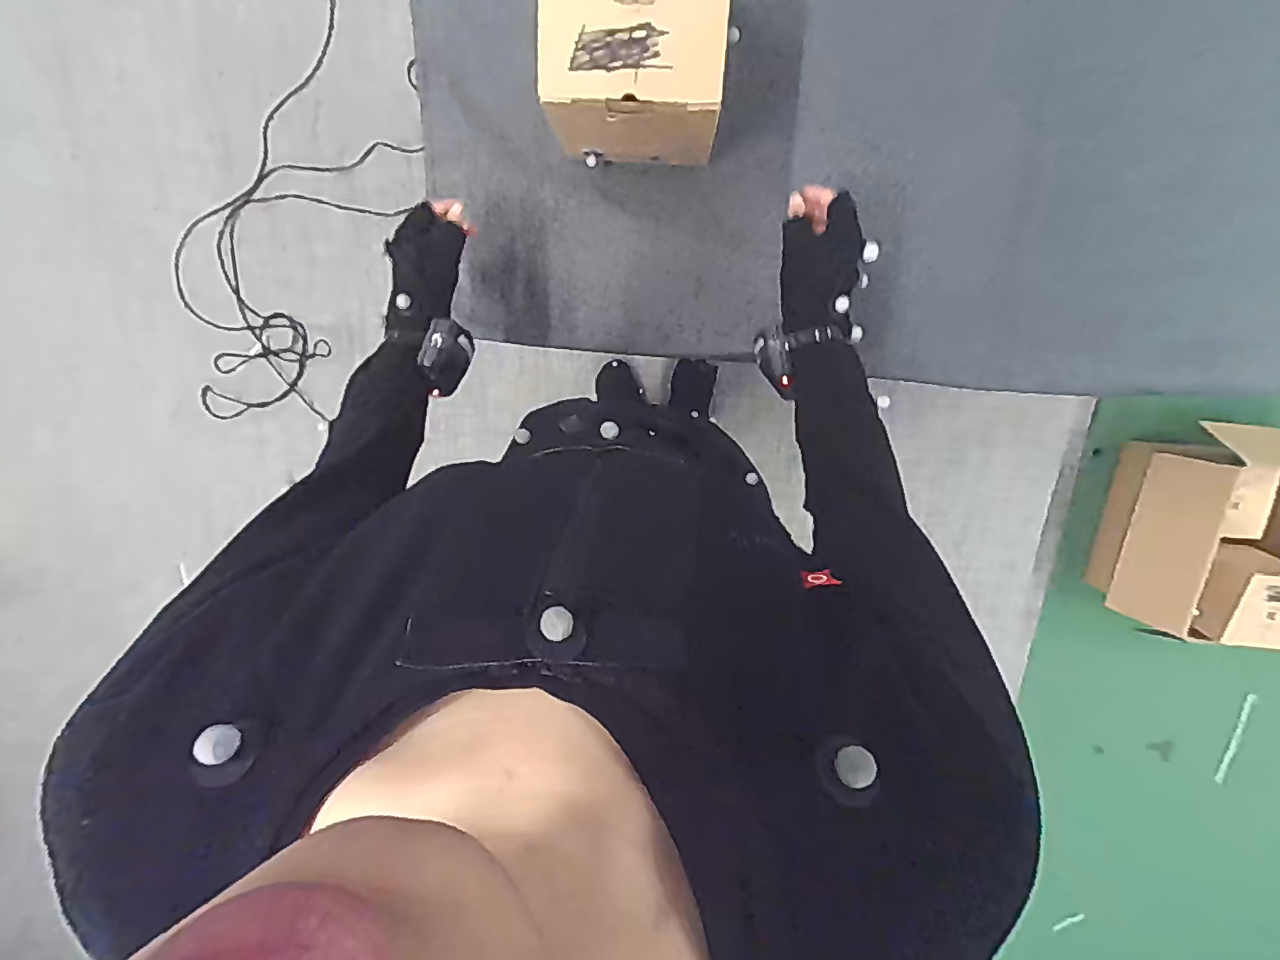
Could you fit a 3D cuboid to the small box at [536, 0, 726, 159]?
[{"bbox_3d":[-0.003,-0.439,0.535,0.168,0.176,0.179,4,104,1],"label":"small box"}]
